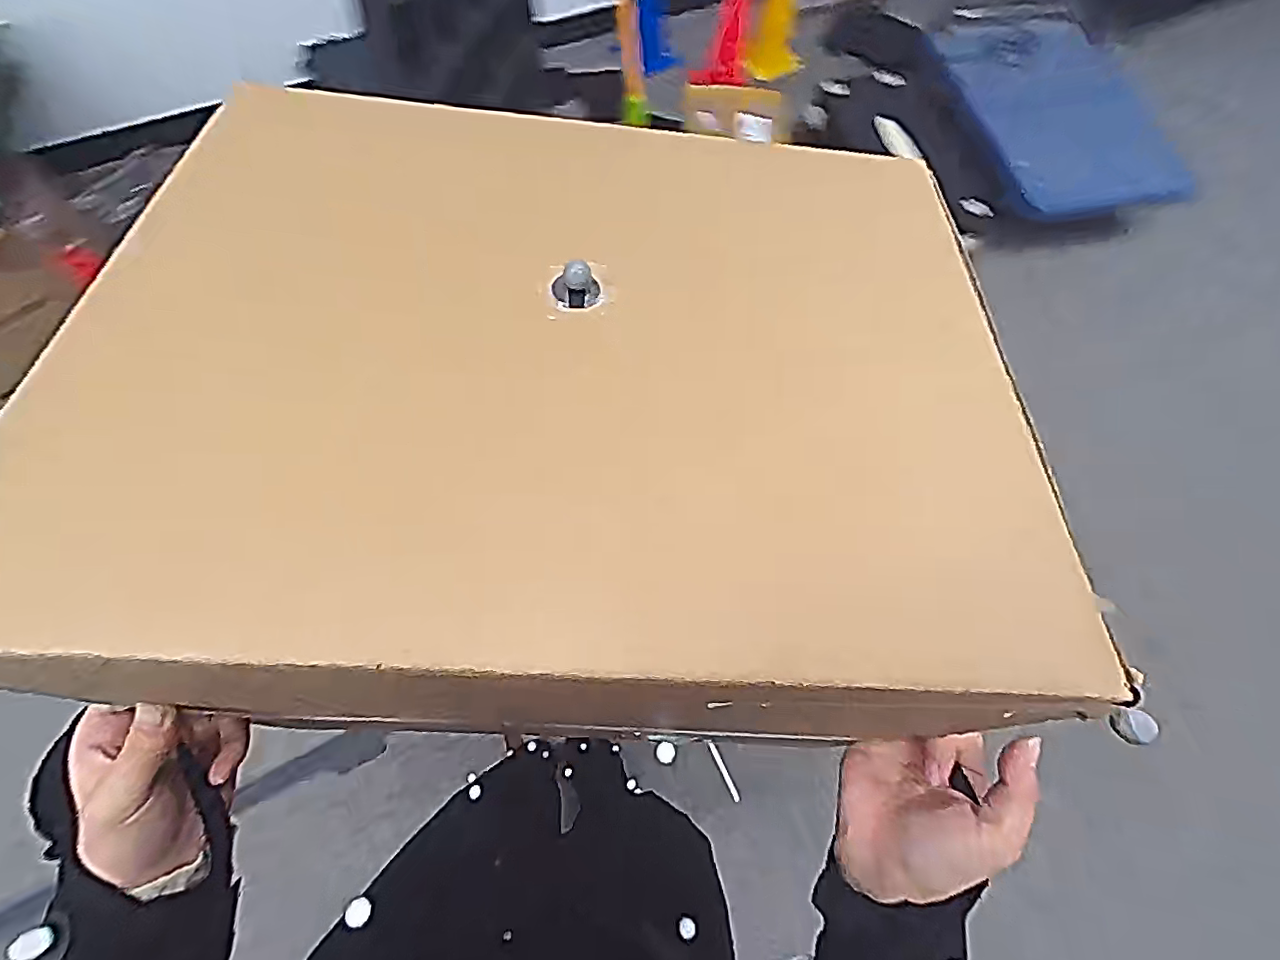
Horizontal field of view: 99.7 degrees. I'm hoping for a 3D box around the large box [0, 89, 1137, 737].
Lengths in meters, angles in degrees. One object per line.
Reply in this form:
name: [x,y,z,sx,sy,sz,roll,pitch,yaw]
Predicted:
large box: [-0.036,-0.010,0.373,0.408,0.320,0.320,4,63,-3]
